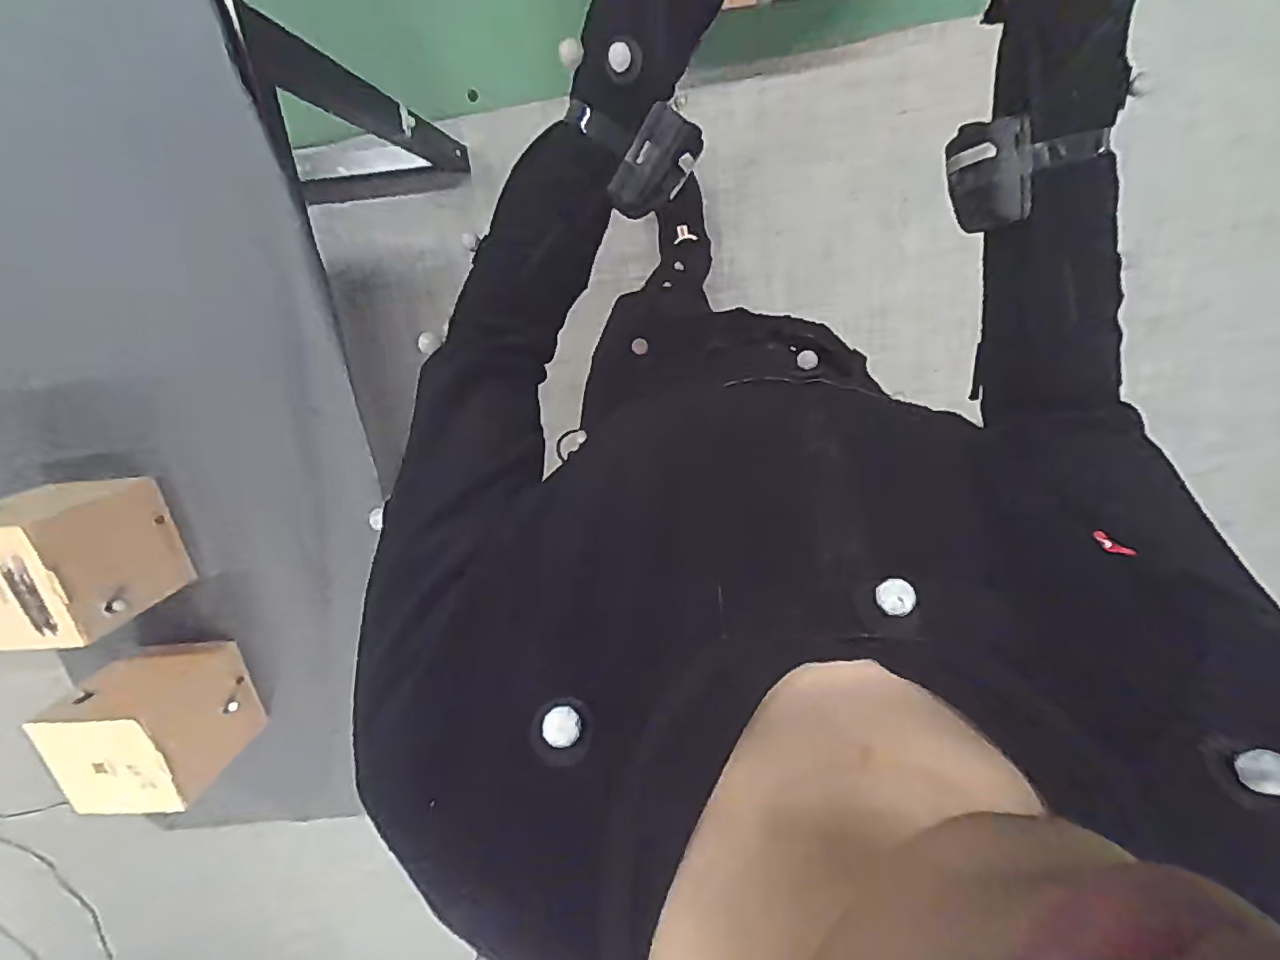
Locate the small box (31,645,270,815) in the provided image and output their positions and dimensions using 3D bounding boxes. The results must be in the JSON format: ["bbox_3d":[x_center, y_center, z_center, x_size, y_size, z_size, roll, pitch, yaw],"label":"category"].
[{"bbox_3d":[-0.715,0.367,0.813,0.179,0.176,0.168,-5,109,5],"label":"small box"}]
